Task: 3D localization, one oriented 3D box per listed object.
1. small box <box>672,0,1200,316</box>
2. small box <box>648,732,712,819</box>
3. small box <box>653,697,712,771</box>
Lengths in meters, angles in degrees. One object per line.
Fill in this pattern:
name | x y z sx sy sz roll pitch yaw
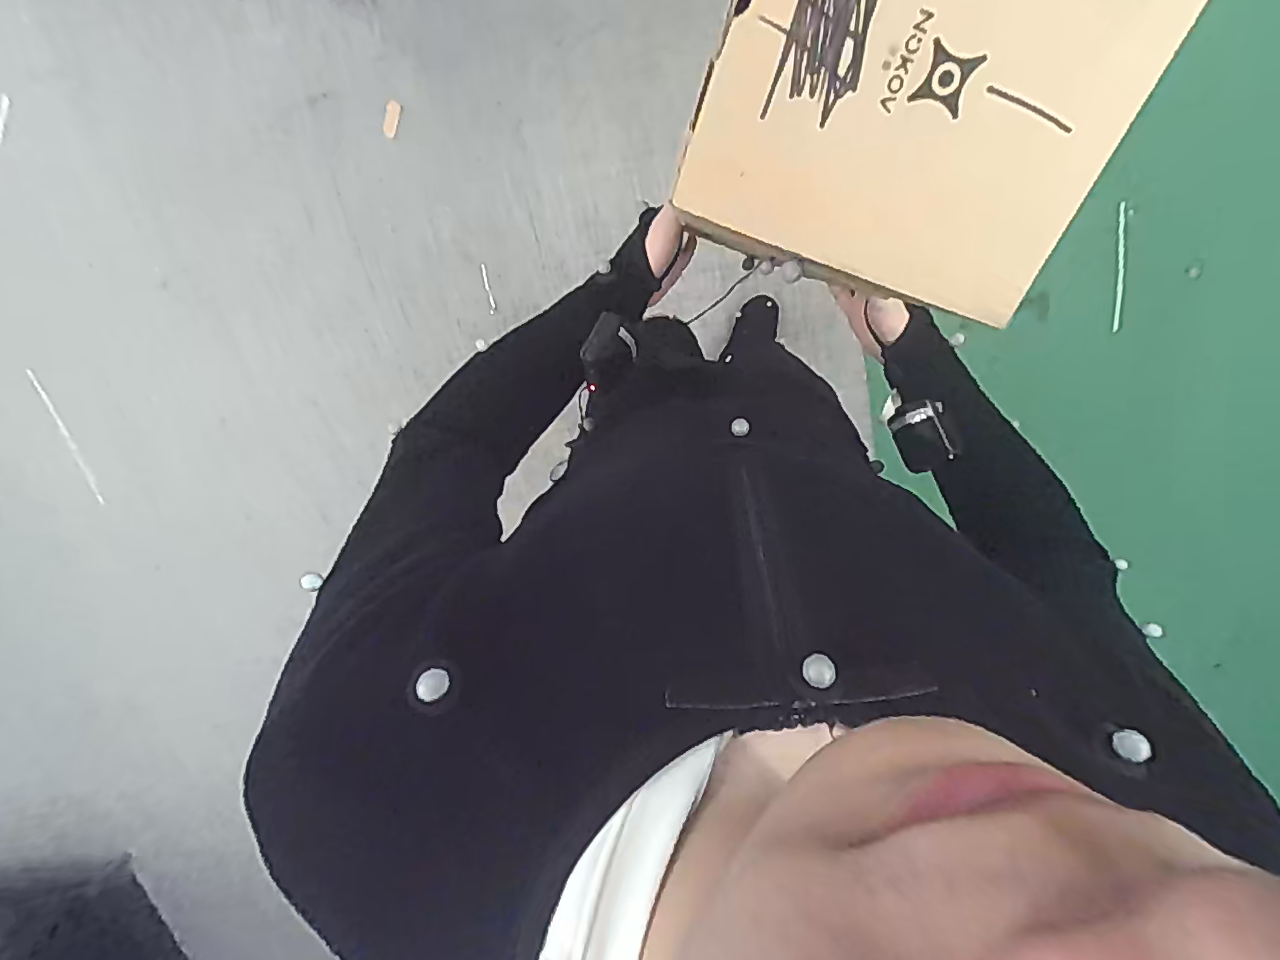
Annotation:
small box | 0.130 -0.206 0.299 0.179 0.176 0.168 19 115 -2
small box | 0.126 0.912 1.679 0.179 0.176 0.168 -9 106 7
small box | 0.146 0.862 1.831 0.179 0.176 0.168 -8 107 7
